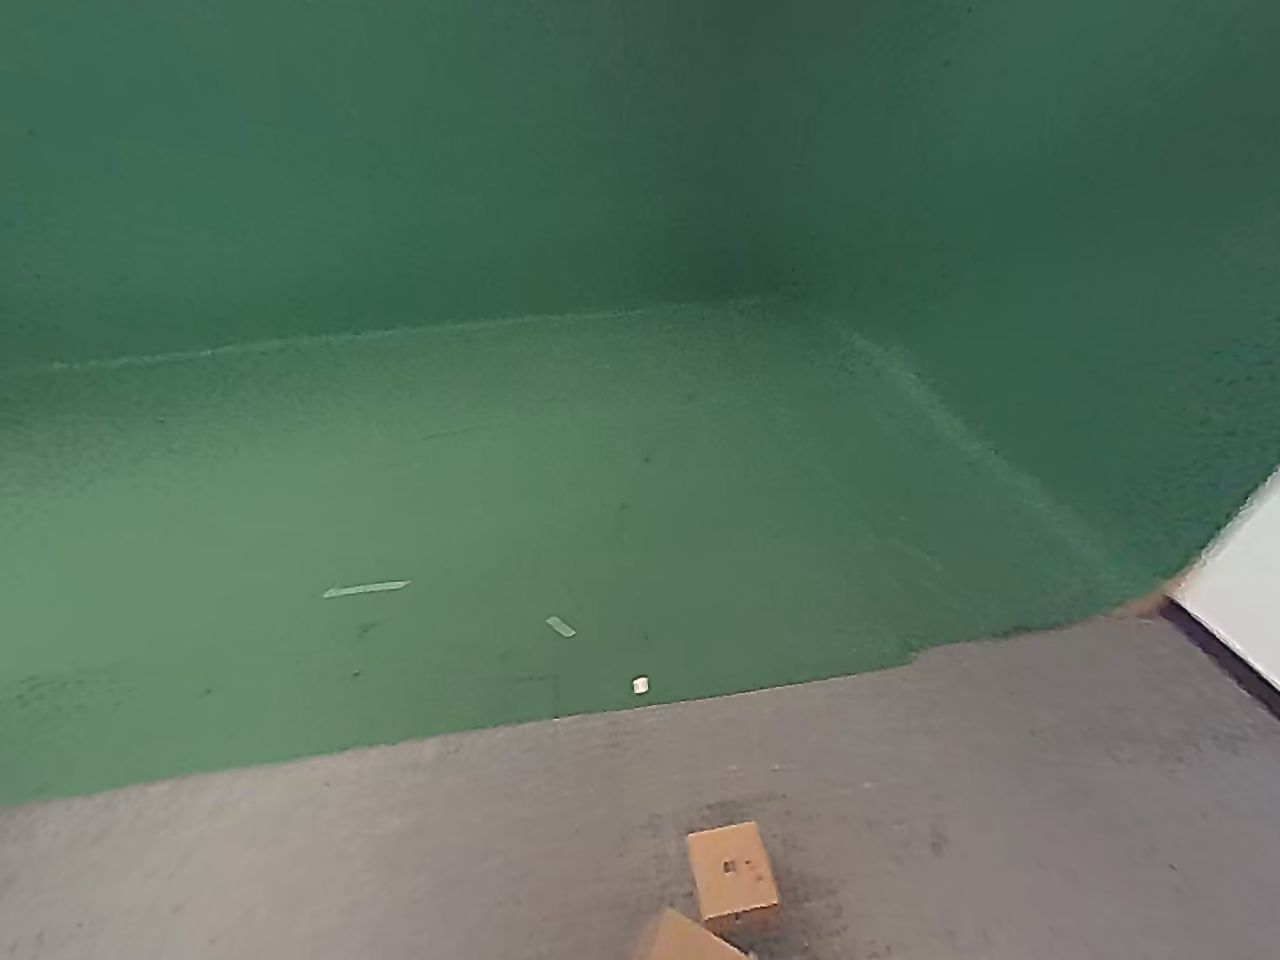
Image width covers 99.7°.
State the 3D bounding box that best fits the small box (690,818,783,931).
[{"bbox_3d":[0.221,0.935,1.280,0.179,0.176,0.168,-8,41,-4],"label":"small box"}]
